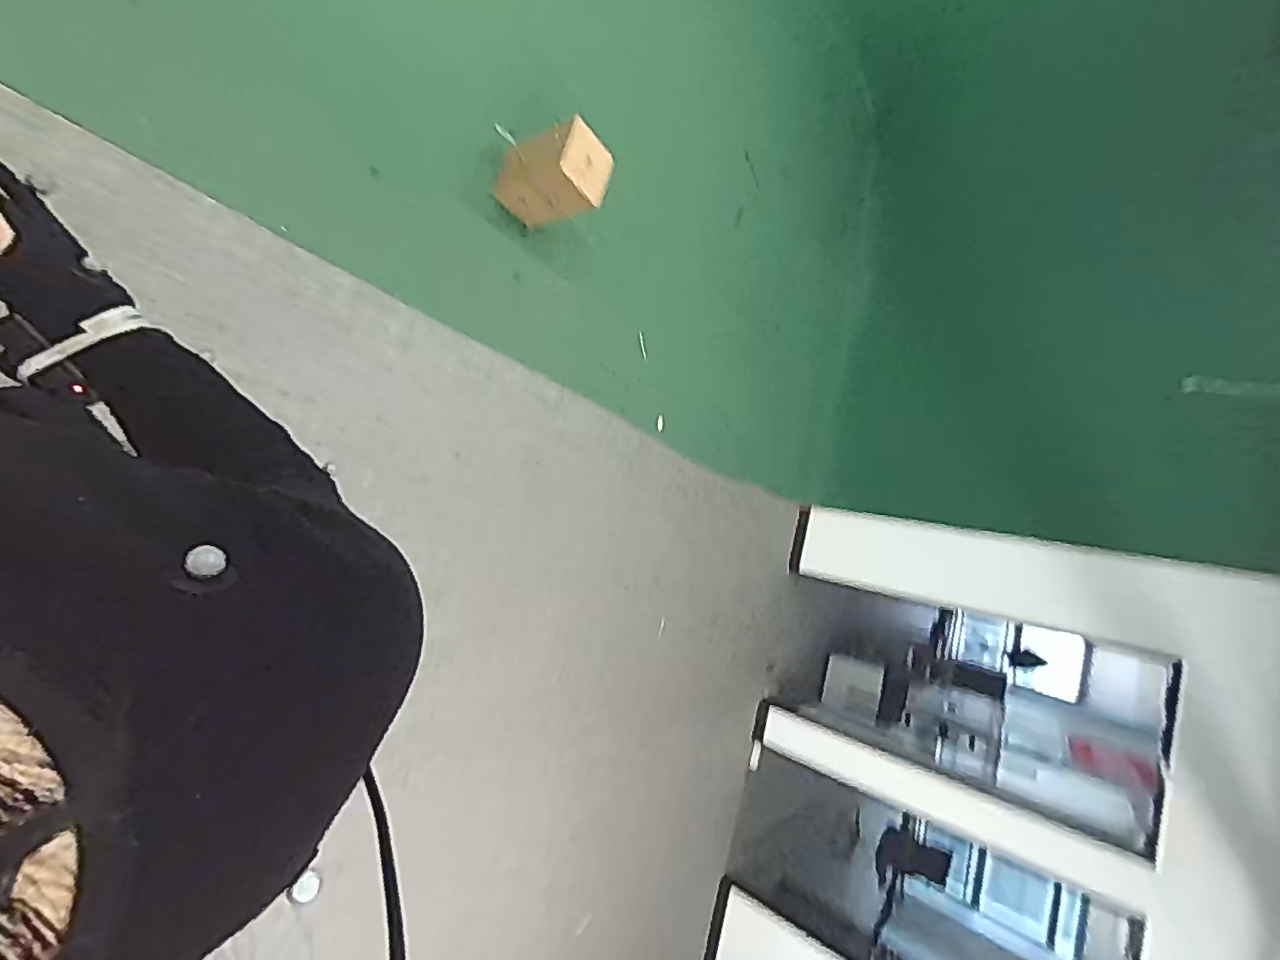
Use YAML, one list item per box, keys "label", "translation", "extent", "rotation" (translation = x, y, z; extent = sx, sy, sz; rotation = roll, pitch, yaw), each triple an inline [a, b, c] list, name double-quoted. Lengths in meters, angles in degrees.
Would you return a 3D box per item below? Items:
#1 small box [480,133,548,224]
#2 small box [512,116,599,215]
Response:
- label: "small box"
  translation: [-0.383, -0.950, 1.724]
  extent: [0.168, 0.176, 0.179]
  rotation: [24, 77, -51]
- label: "small box"
  translation: [-0.255, -0.933, 1.620]
  extent: [0.168, 0.176, 0.179]
  rotation: [28, 74, -50]
